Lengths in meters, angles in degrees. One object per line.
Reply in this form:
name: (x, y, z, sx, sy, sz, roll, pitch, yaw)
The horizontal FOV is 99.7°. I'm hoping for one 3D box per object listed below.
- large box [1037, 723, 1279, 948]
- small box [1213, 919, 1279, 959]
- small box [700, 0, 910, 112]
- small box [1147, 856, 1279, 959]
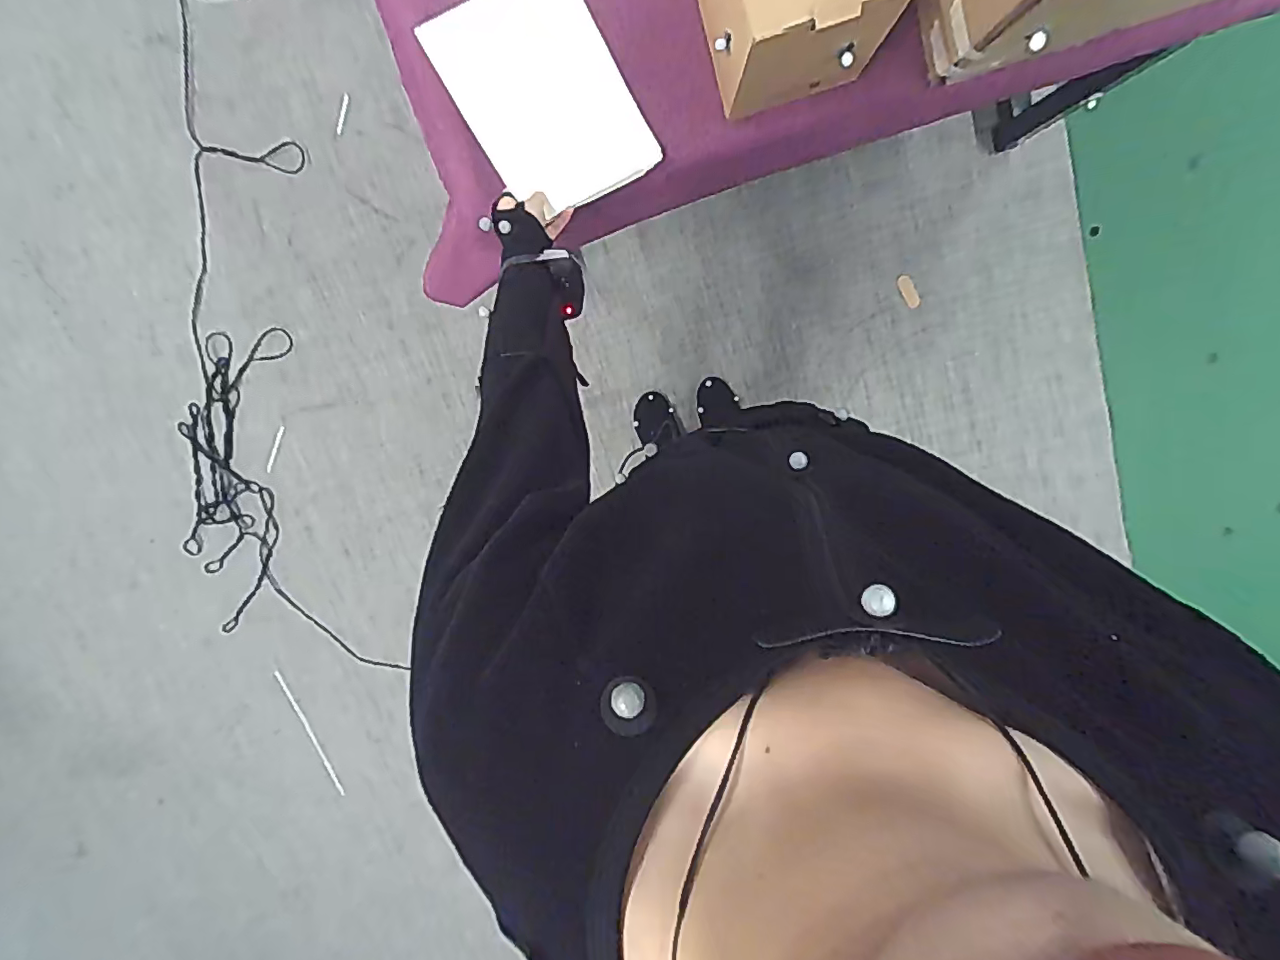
large box: (1.472, 0.989, 1.539, 0.408, 0.320, 0.320, -32, 100, 6)
small box: (1.384, 1.096, 1.143, 0.179, 0.176, 0.168, -31, 99, 5)
small box: (0.163, -0.532, 0.577, 0.168, 0.176, 0.179, -16, 99, 3)
small box: (1.387, 1.065, 1.305, 0.179, 0.176, 0.168, -27, 100, 6)
